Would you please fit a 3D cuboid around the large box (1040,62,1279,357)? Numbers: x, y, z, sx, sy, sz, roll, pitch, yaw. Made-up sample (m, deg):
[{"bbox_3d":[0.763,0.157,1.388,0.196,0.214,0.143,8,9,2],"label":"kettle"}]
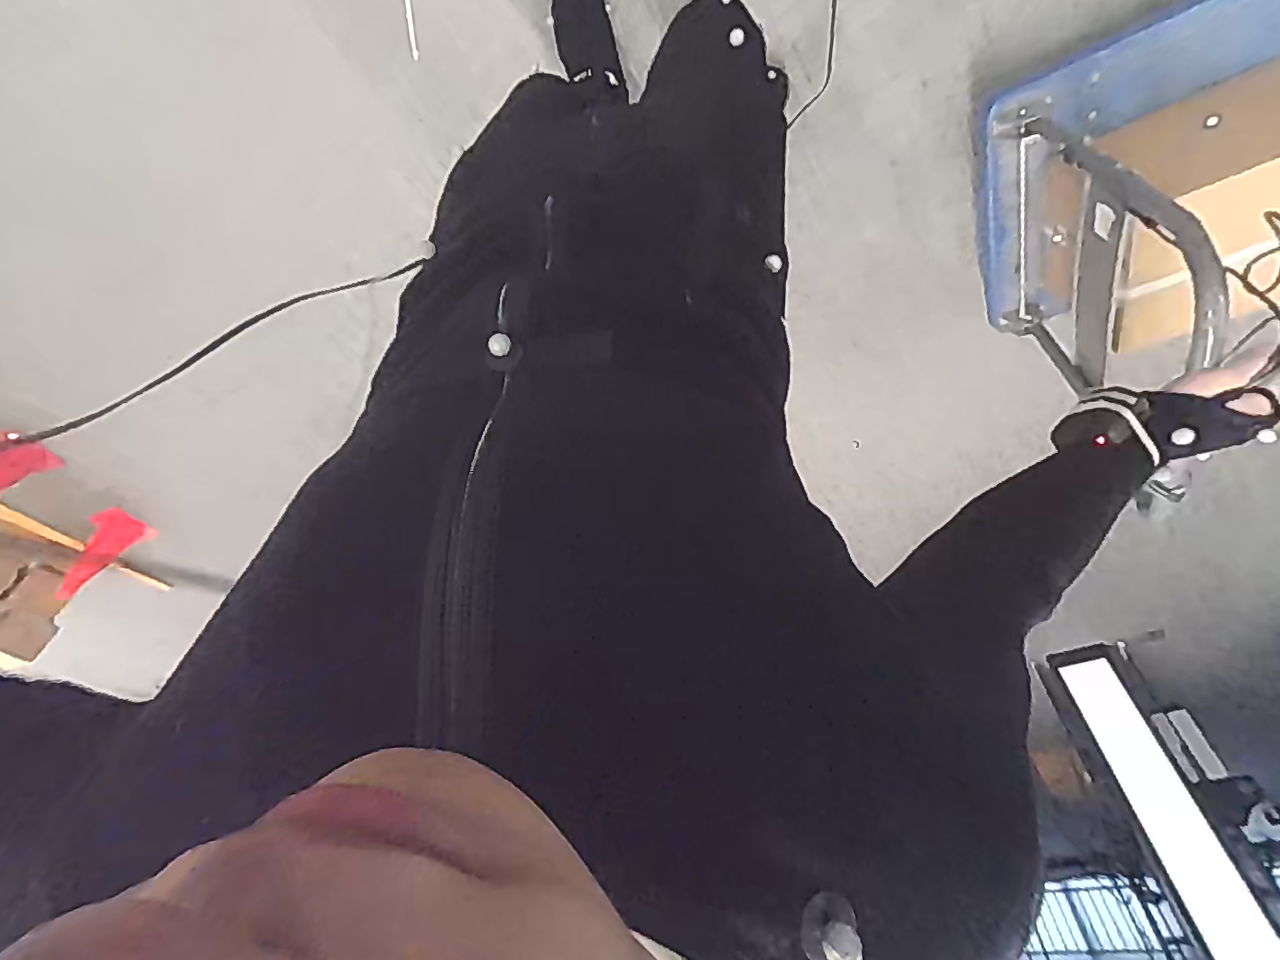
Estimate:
[{"bbox_3d":[1.075,-0.512,1.046,0.408,0.320,0.320,-19,133,20],"label":"large box"}]
